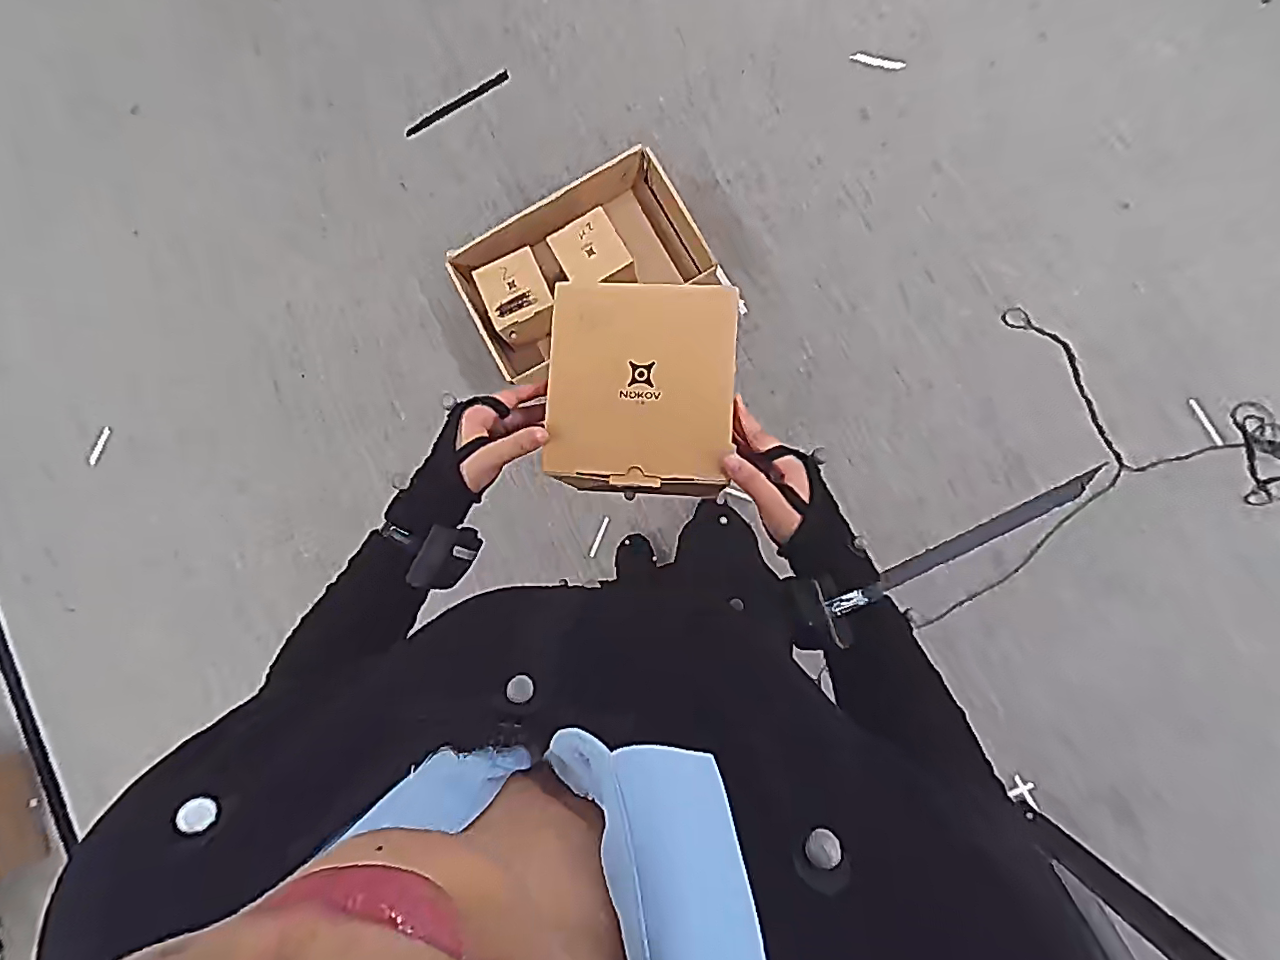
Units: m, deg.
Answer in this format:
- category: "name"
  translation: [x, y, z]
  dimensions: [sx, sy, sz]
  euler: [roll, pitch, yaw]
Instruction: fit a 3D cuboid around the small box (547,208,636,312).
- category: "small box"
  translation: [-0.121, -0.575, 1.446]
  dimensions: [0.168, 0.176, 0.179]
  euler: [-30, 84, 2]
